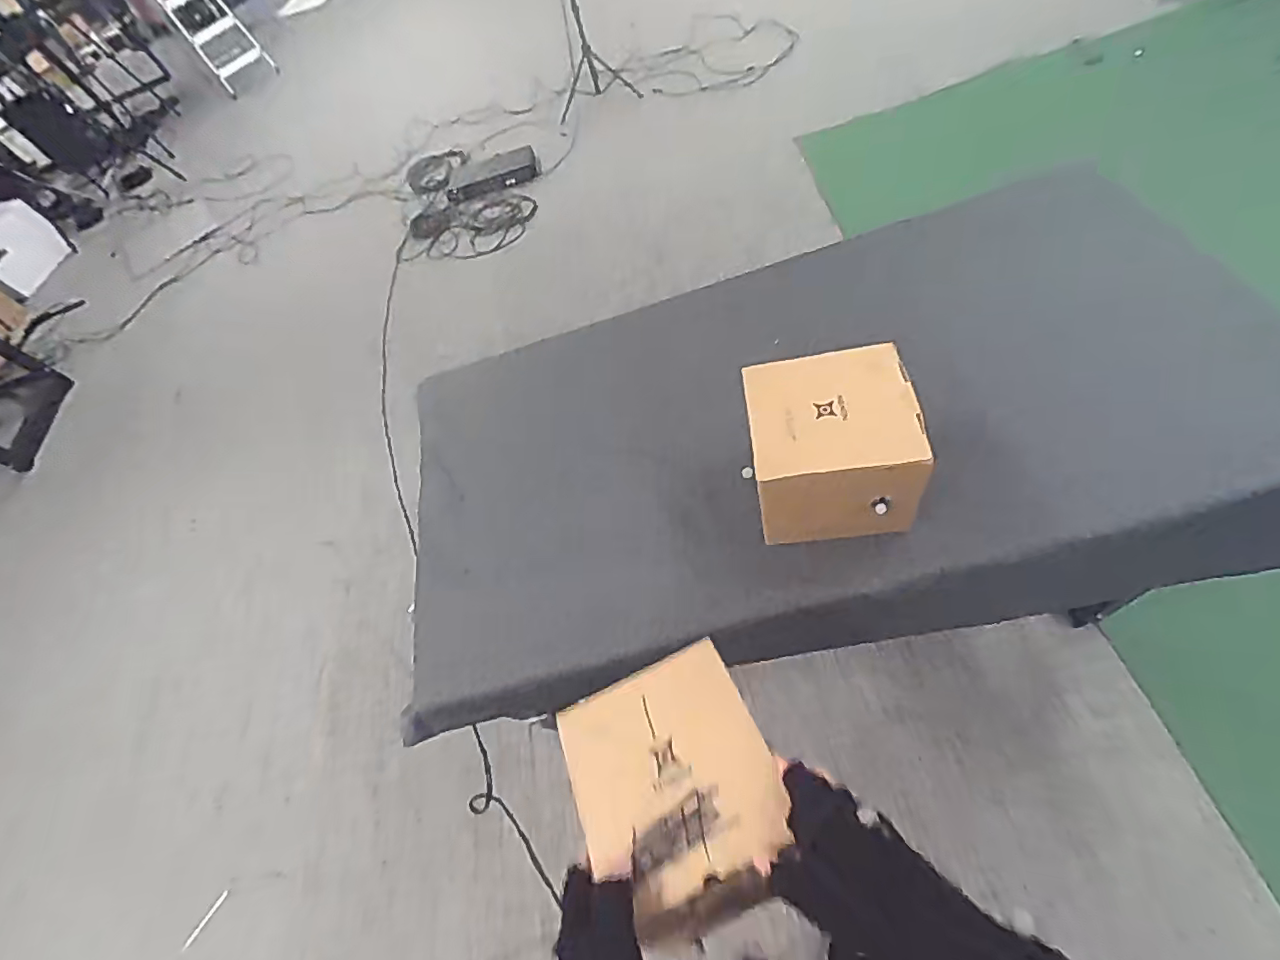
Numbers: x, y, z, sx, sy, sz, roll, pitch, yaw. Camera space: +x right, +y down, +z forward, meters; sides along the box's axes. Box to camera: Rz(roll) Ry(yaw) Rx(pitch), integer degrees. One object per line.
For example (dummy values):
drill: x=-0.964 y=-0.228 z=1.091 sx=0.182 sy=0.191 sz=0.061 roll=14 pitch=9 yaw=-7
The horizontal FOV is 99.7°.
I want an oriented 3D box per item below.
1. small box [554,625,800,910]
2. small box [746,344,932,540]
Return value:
small box: x=0.038 y=0.278 z=0.517 sx=0.168 sy=0.176 sz=0.179 roll=-24 pitch=44 yaw=-3
small box: x=0.230 y=-0.038 z=0.668 sx=0.179 sy=0.176 sz=0.168 roll=-7 pitch=58 yaw=13
